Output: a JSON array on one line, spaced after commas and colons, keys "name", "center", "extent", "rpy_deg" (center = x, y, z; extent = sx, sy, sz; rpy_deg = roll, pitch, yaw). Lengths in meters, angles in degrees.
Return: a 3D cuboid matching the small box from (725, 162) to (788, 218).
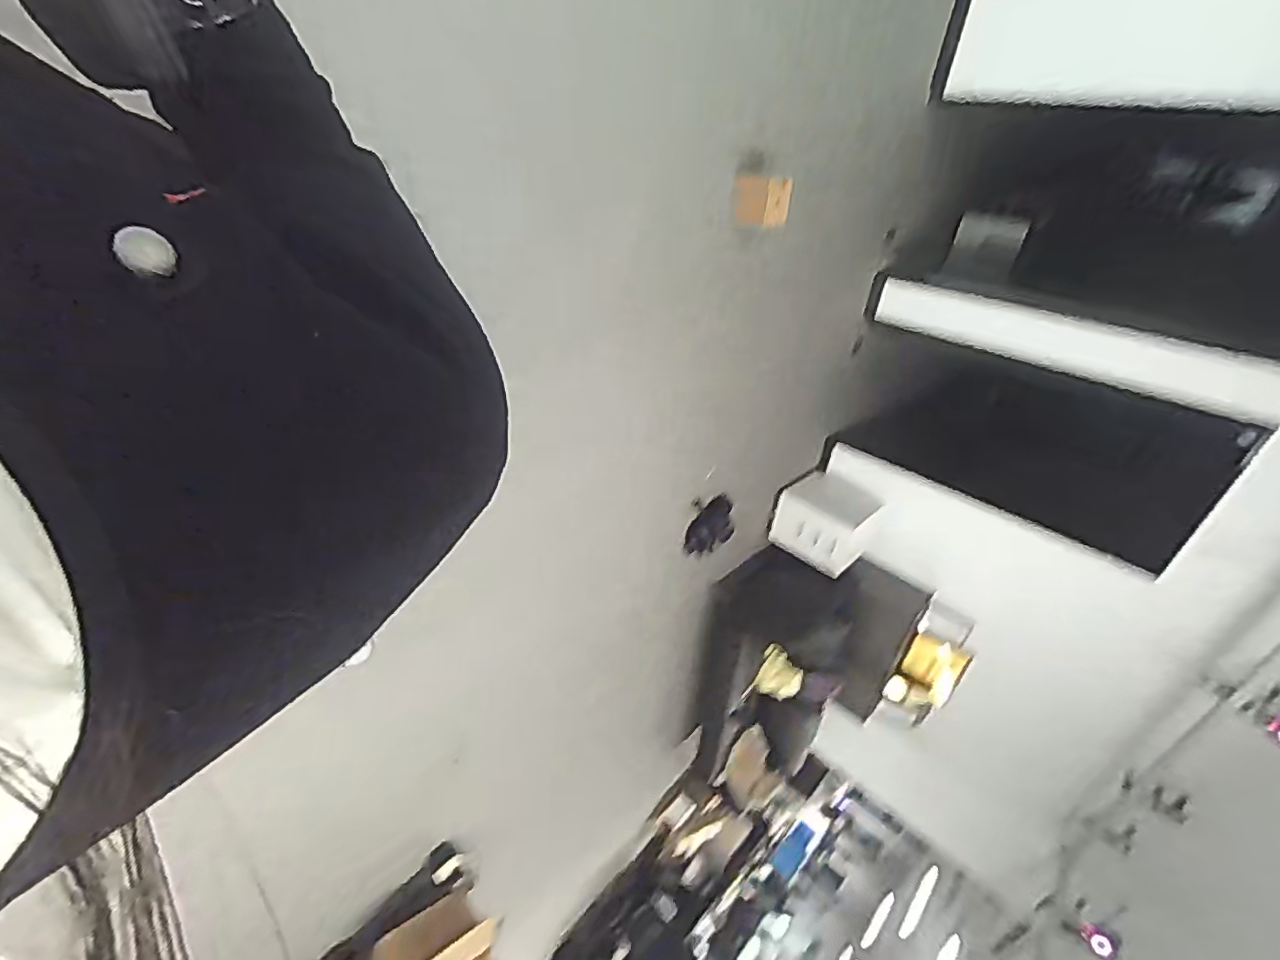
[{"name": "small box", "center": [0.463, -1.167, 2.174], "extent": [0.168, 0.176, 0.179], "rpy_deg": [-27, 135, -39]}]
